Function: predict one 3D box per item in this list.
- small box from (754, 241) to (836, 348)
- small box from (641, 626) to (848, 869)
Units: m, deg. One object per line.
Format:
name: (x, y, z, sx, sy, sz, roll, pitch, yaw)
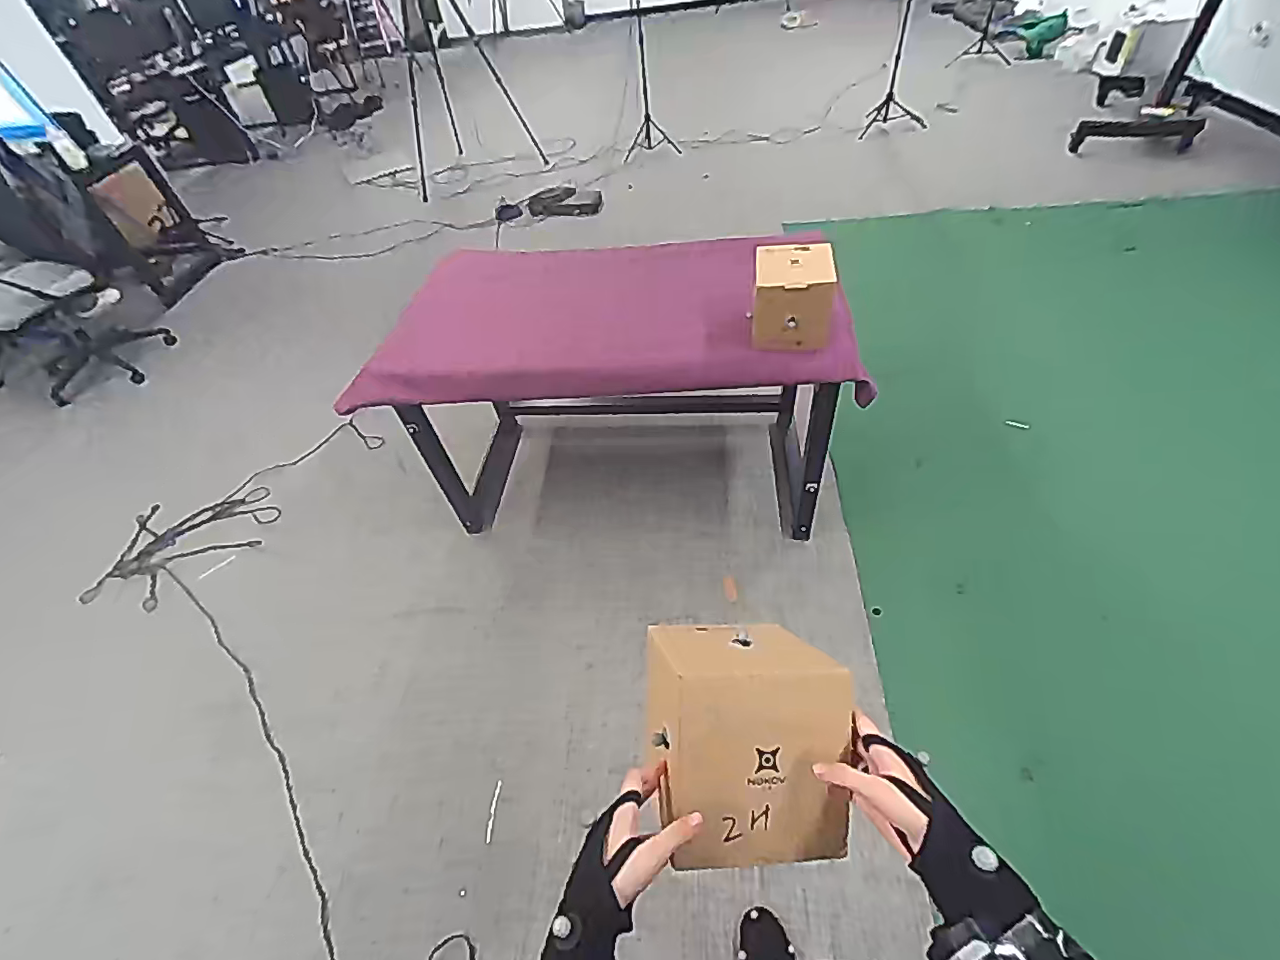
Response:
small box: (0.348, -0.417, 1.231, 0.168, 0.176, 0.179, 2, 51, 11)
small box: (0.096, 0.256, 0.563, 0.168, 0.176, 0.179, 2, 91, -8)
